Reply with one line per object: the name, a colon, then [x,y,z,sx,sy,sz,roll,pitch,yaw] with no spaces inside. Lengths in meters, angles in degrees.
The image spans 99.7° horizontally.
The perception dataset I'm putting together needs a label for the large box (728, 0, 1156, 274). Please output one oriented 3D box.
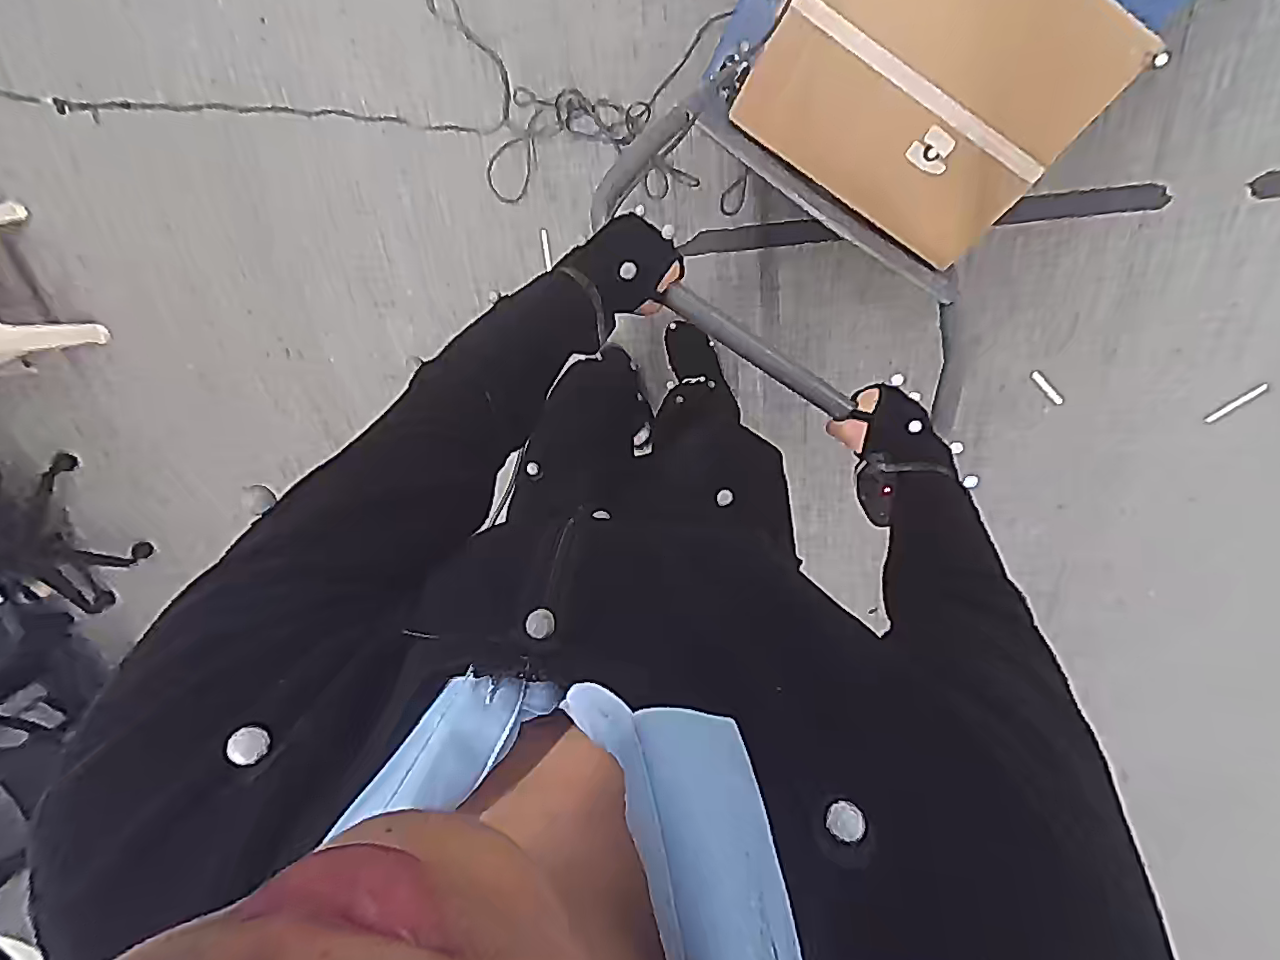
large box: [0.400,-0.594,0.808,0.408,0.320,0.320,31,135,-7]
